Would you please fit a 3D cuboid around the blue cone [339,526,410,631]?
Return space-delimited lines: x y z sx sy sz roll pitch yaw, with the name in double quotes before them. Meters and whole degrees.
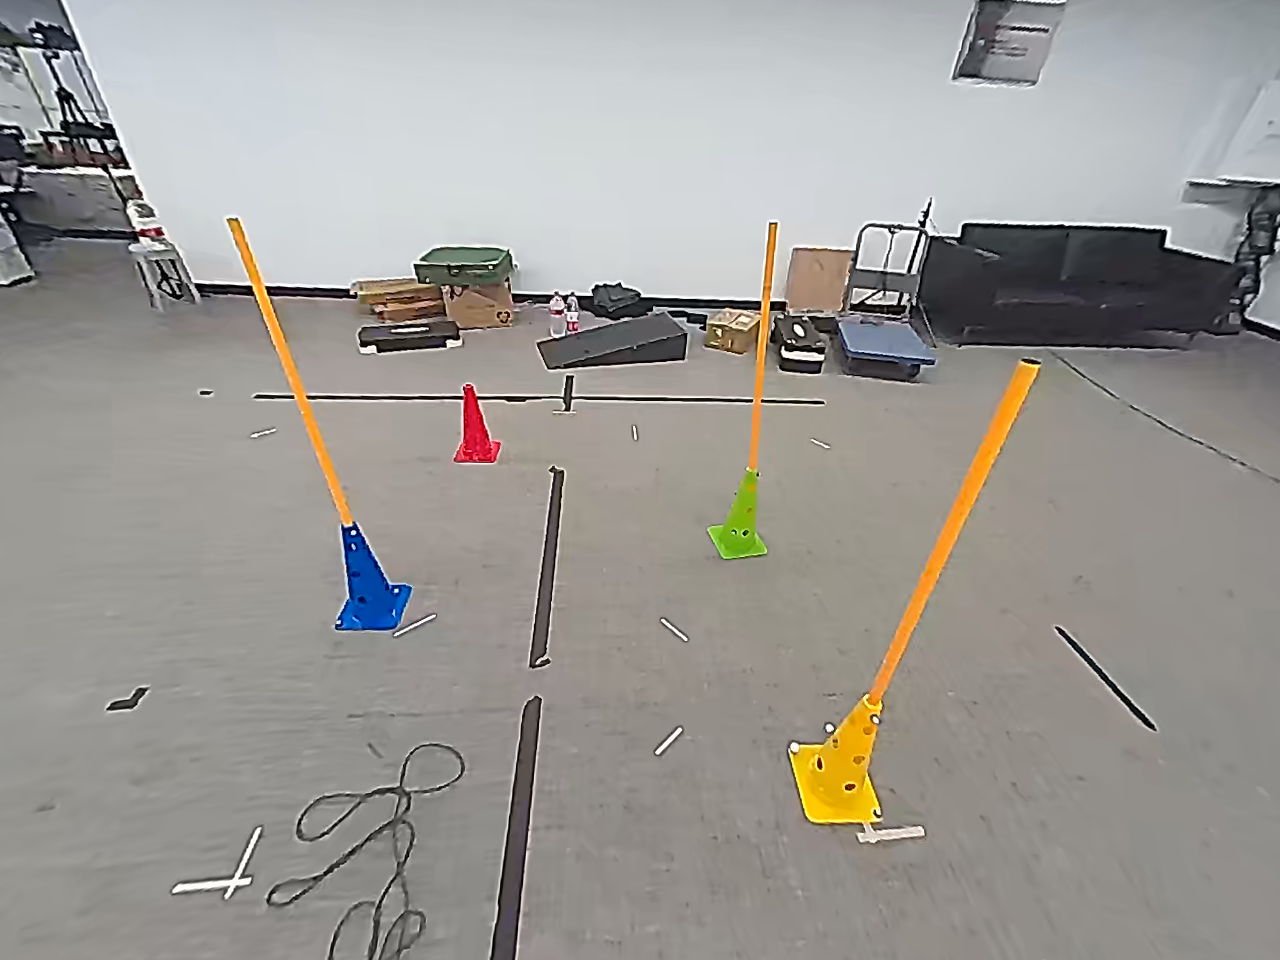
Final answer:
"blue cone" -0.885 0.298 1.737 0.193 0.380 0.192 2 34 -2

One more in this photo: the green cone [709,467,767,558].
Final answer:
"green cone" 0.409 0.105 2.125 0.200 0.368 0.202 -6 37 -13
